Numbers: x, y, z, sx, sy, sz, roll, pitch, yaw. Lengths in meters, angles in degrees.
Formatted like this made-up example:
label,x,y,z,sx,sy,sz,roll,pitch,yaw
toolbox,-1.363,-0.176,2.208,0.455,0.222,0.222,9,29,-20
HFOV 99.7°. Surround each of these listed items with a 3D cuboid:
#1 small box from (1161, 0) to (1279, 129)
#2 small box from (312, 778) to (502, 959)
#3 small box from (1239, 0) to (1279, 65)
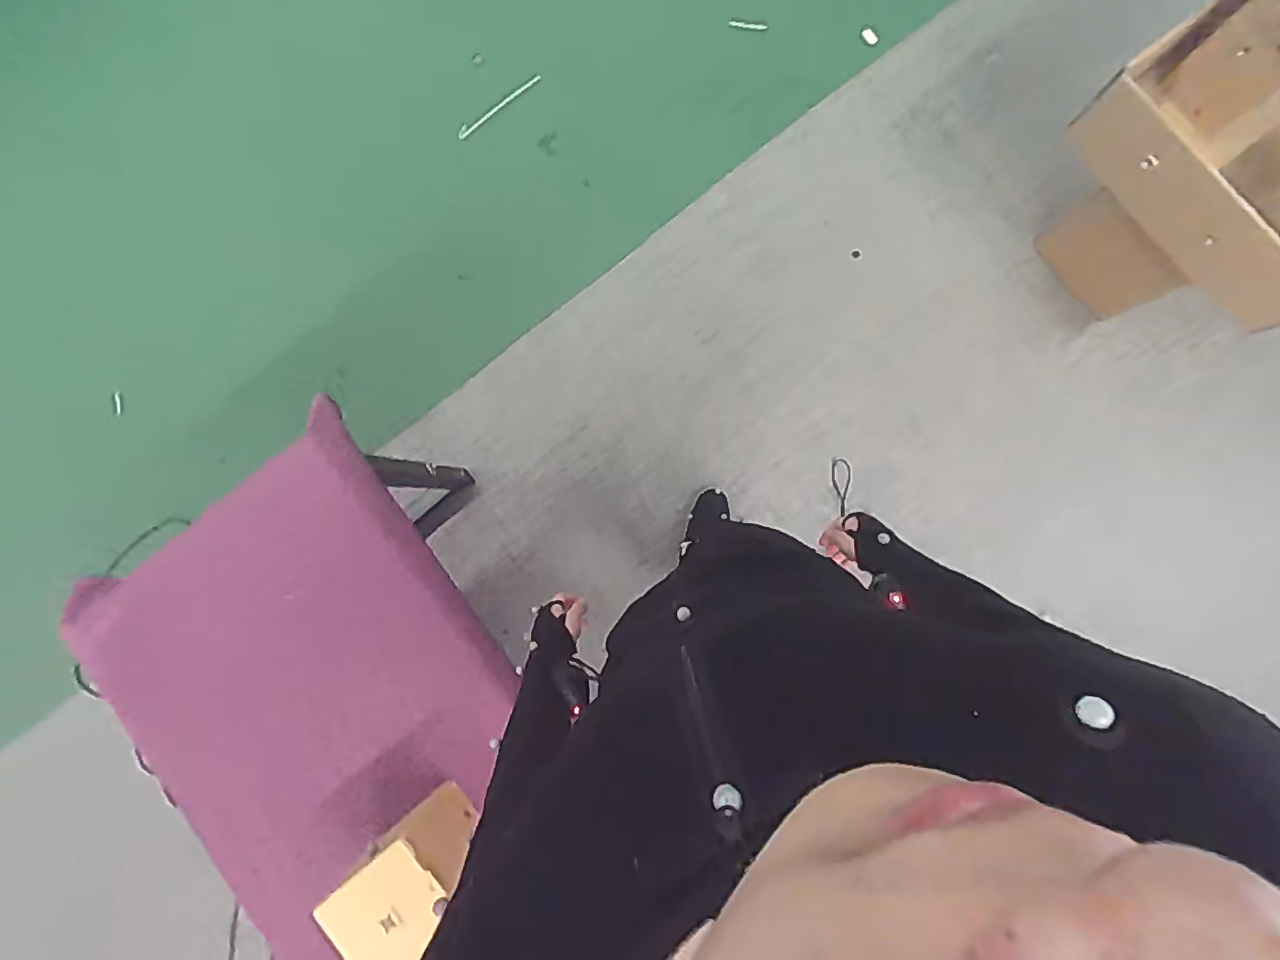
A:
label,x,y,z,sx,sy,sz,roll,pitch,yaw
small box,1.229,-0.864,1.083,0.179,0.176,0.168,-35,86,2
small box,-0.348,0.617,0.843,0.179,0.176,0.168,-41,86,1
small box,1.217,-0.870,0.920,0.179,0.176,0.168,-33,85,3
